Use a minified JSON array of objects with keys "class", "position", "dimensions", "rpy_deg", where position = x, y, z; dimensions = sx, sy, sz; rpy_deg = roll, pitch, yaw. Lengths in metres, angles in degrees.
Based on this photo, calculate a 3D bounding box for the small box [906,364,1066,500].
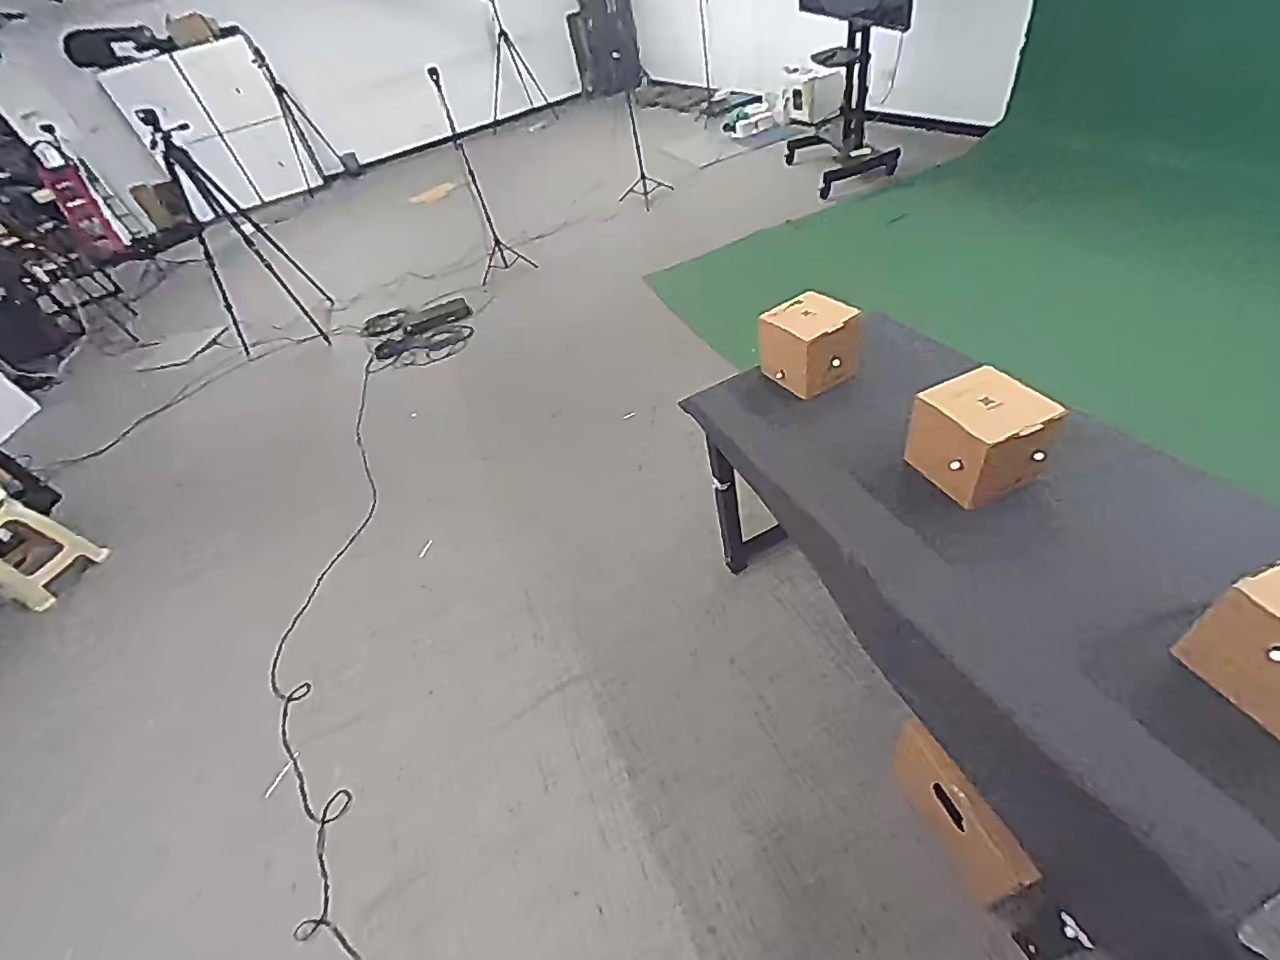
[{"class":"small box","position":[0.635,-0.084,1.016],"dimensions":[0.168,0.176,0.179],"rpy_deg":[-22,42,-8]}]

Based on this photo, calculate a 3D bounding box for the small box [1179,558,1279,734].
[{"class":"small box","position":[0.836,0.202,0.657],"dimensions":[0.168,0.176,0.179],"rpy_deg":[-22,44,-6]}]

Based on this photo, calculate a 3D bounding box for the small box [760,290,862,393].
[{"class":"small box","position":[0.417,-0.337,1.336],"dimensions":[0.168,0.176,0.179],"rpy_deg":[-28,46,-13]}]
